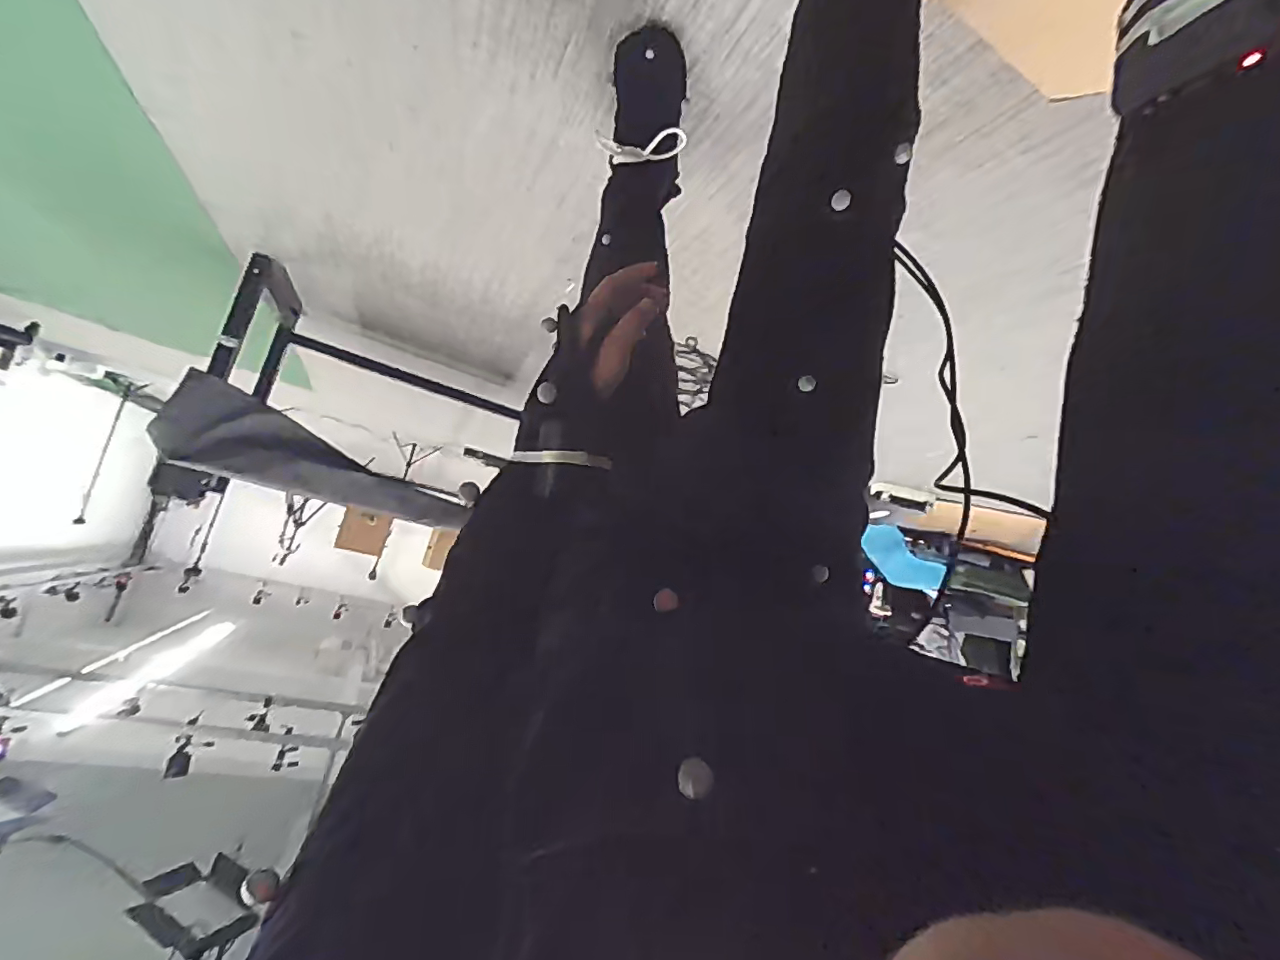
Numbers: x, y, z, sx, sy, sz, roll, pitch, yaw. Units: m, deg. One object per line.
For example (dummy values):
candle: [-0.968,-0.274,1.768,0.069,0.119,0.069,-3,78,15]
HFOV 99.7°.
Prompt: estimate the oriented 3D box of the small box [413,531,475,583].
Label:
small box: [-0.779,0.303,2.149,0.179,0.176,0.168,19,168,-29]

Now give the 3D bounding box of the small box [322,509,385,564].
small box: [-1.060,0.209,2.010,0.168,0.176,0.179,17,168,-24]
